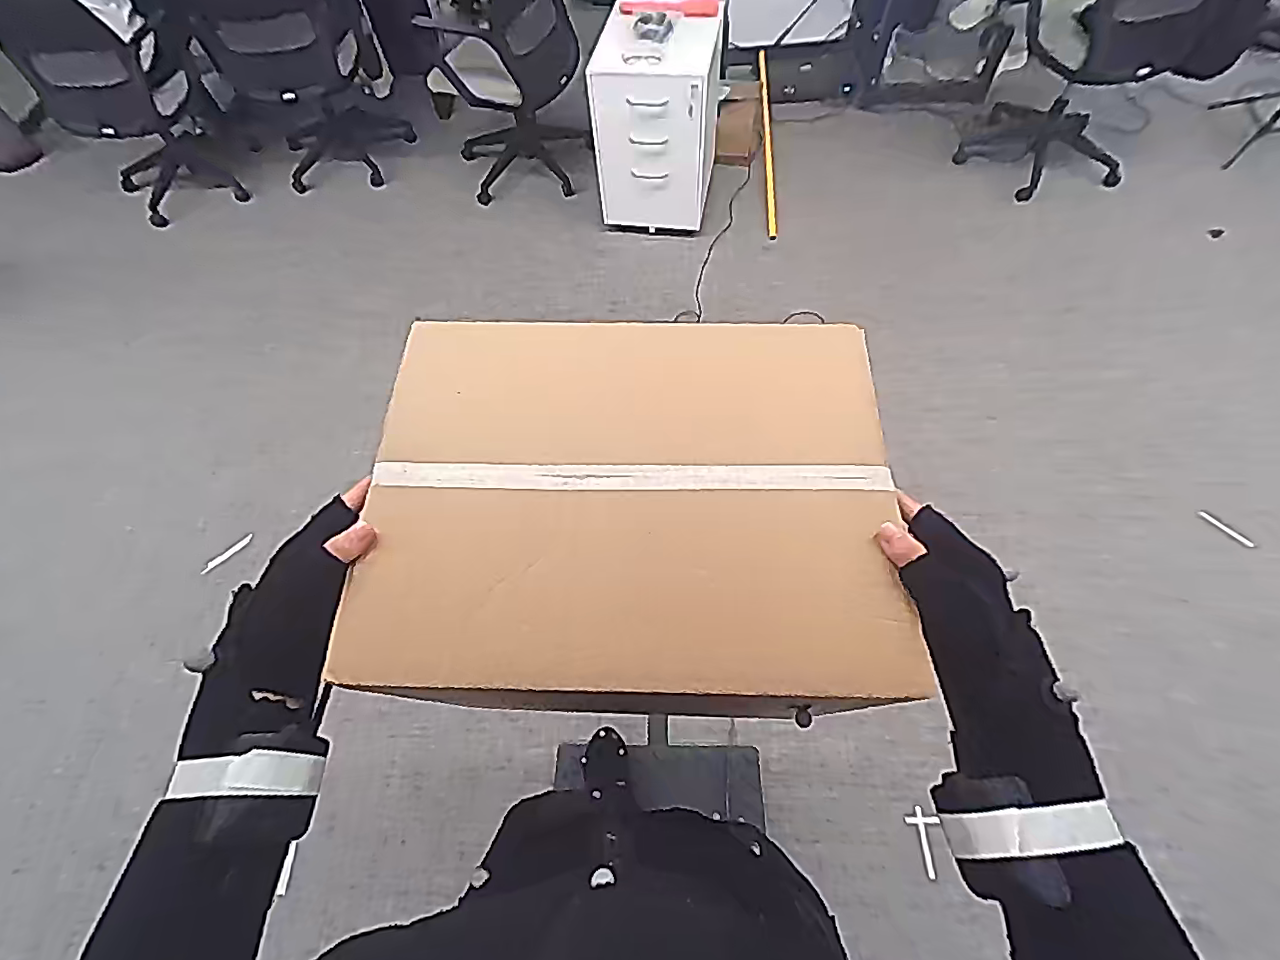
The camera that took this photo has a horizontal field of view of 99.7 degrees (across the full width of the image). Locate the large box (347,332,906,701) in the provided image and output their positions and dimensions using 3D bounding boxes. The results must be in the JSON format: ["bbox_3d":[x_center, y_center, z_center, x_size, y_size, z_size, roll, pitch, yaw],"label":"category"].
[{"bbox_3d":[-0.005,0.065,0.575,0.408,0.320,0.320,1,64,2],"label":"large box"}]

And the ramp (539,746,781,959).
[{"bbox_3d":[0.035,1.048,1.027,0.509,0.206,0.991,-3,60,3],"label":"ramp"}]
